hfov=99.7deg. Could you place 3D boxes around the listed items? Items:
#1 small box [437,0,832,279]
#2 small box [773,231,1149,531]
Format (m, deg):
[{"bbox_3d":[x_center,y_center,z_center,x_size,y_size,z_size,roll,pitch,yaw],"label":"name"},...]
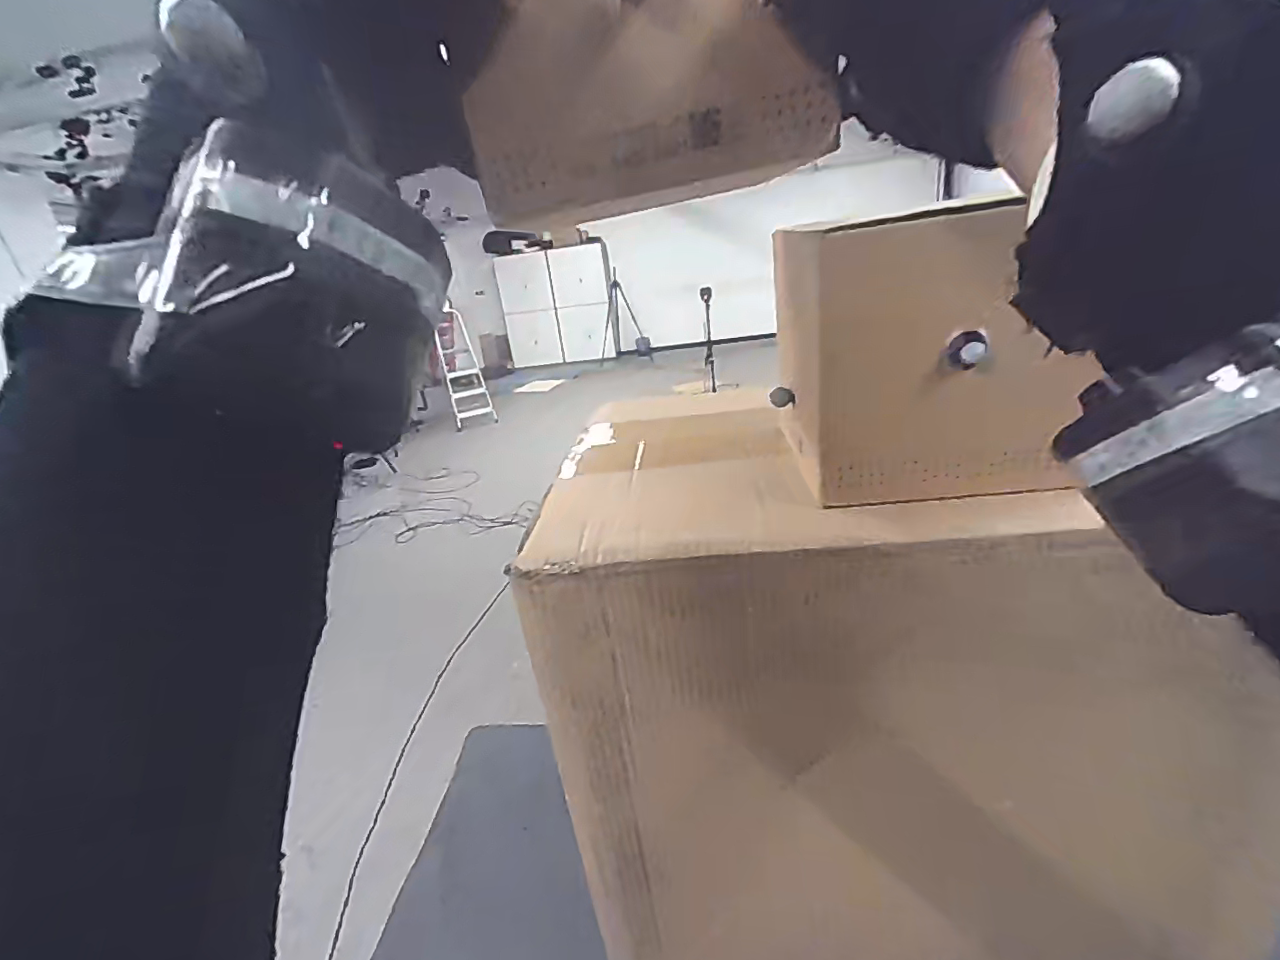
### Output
[{"bbox_3d":[-0.002,-0.219,0.309,0.168,0.176,0.179,-12,23,2],"label":"small box"},{"bbox_3d":[0.195,-0.076,0.392,0.179,0.176,0.168,-5,24,8],"label":"small box"}]
